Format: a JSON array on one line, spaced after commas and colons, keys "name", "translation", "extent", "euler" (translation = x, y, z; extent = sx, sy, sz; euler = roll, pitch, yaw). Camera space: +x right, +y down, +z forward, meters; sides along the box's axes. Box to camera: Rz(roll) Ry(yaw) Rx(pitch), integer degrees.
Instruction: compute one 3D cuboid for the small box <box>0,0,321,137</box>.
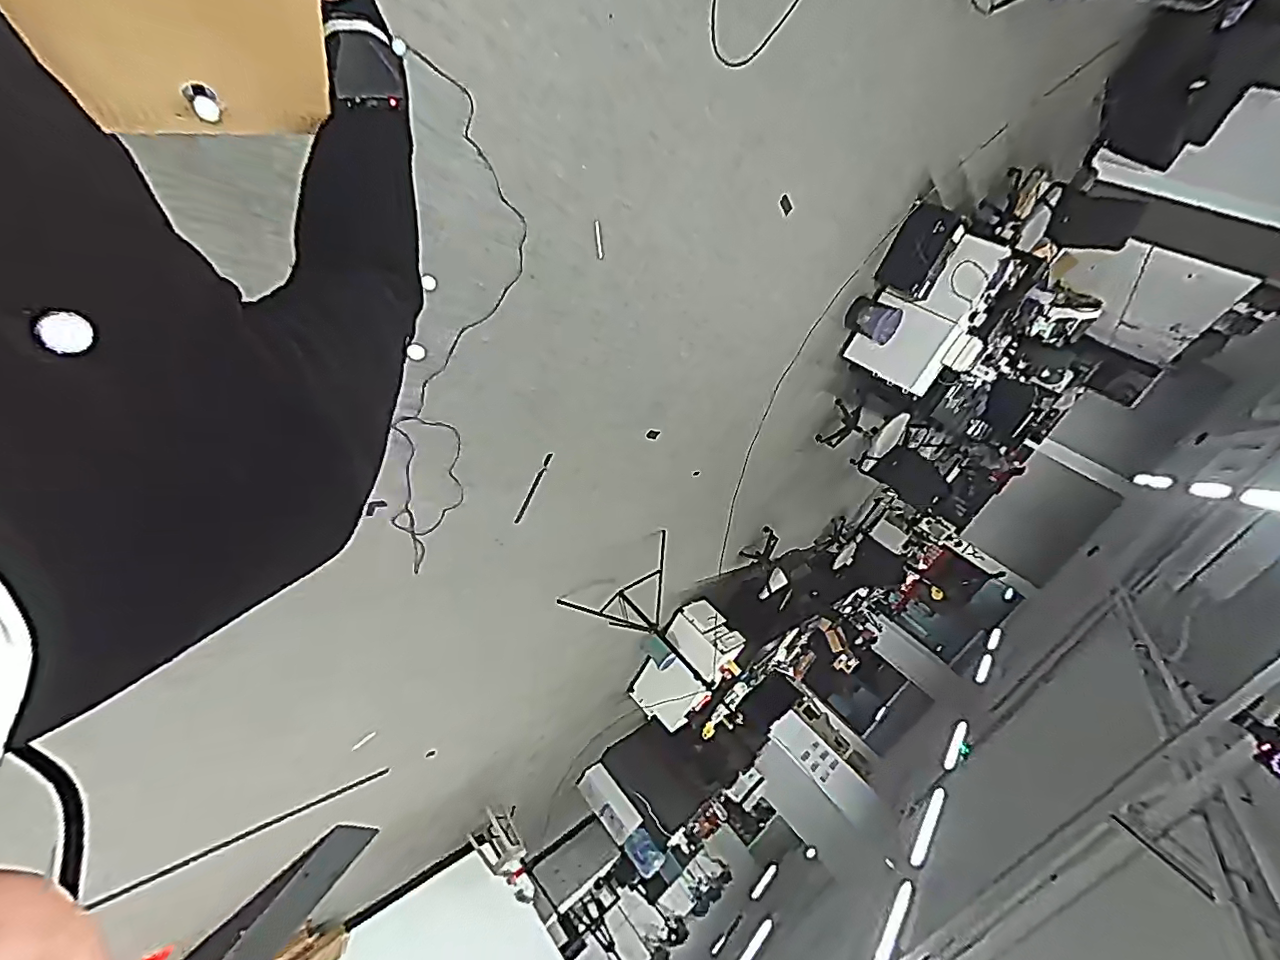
[{"name": "small box", "translation": [-0.338, -0.369, 0.372], "extent": [0.179, 0.168, 0.176], "euler": [-18, -179, -28]}]
